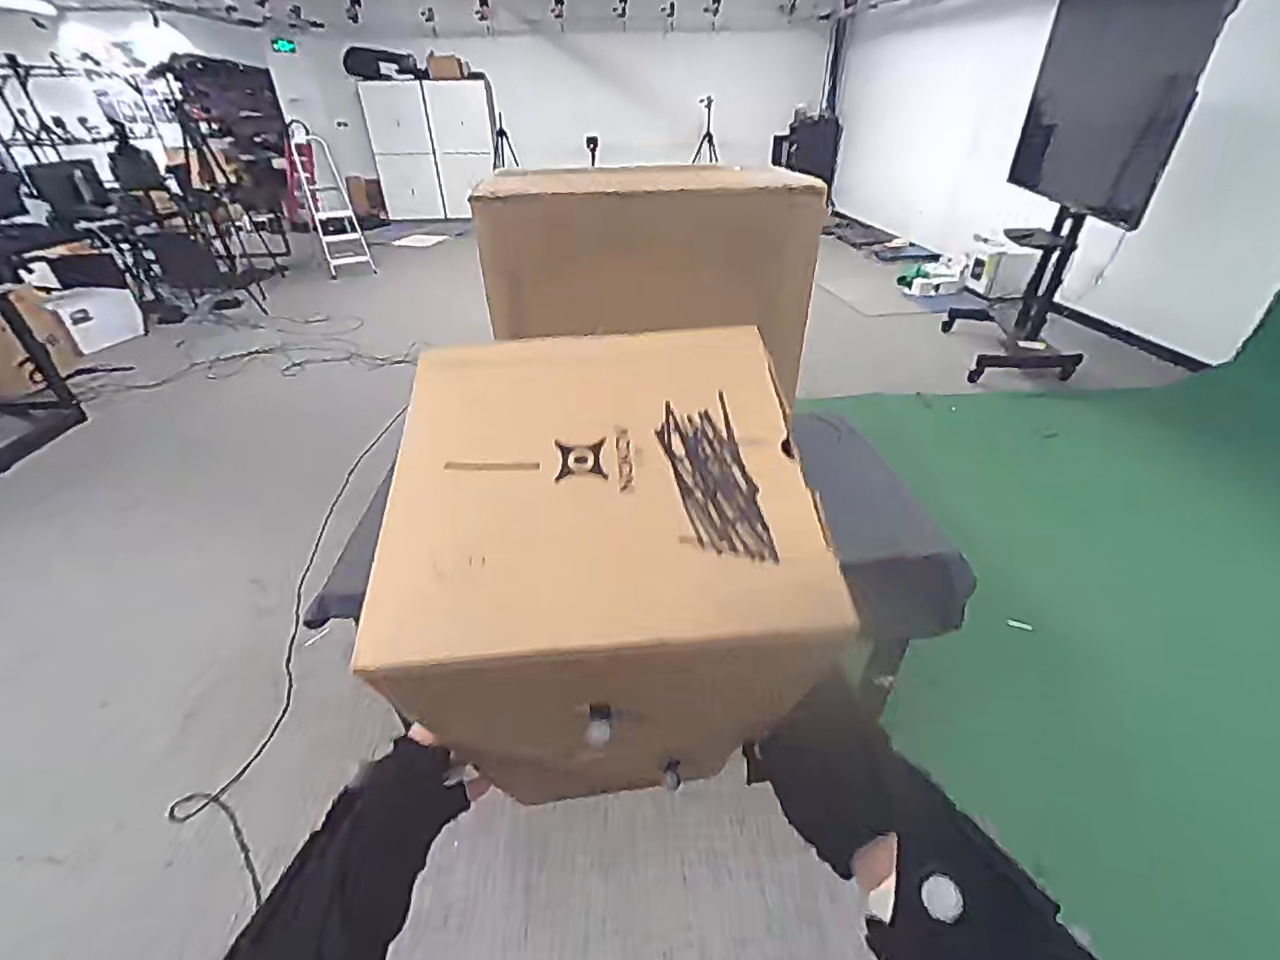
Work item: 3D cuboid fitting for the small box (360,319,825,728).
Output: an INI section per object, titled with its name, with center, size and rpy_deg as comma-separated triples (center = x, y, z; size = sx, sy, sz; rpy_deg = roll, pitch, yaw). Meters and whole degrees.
[small box]
center = -0.021, 0.032, 0.309
size = 0.179, 0.176, 0.168
rpy_deg = -5, 54, -2
